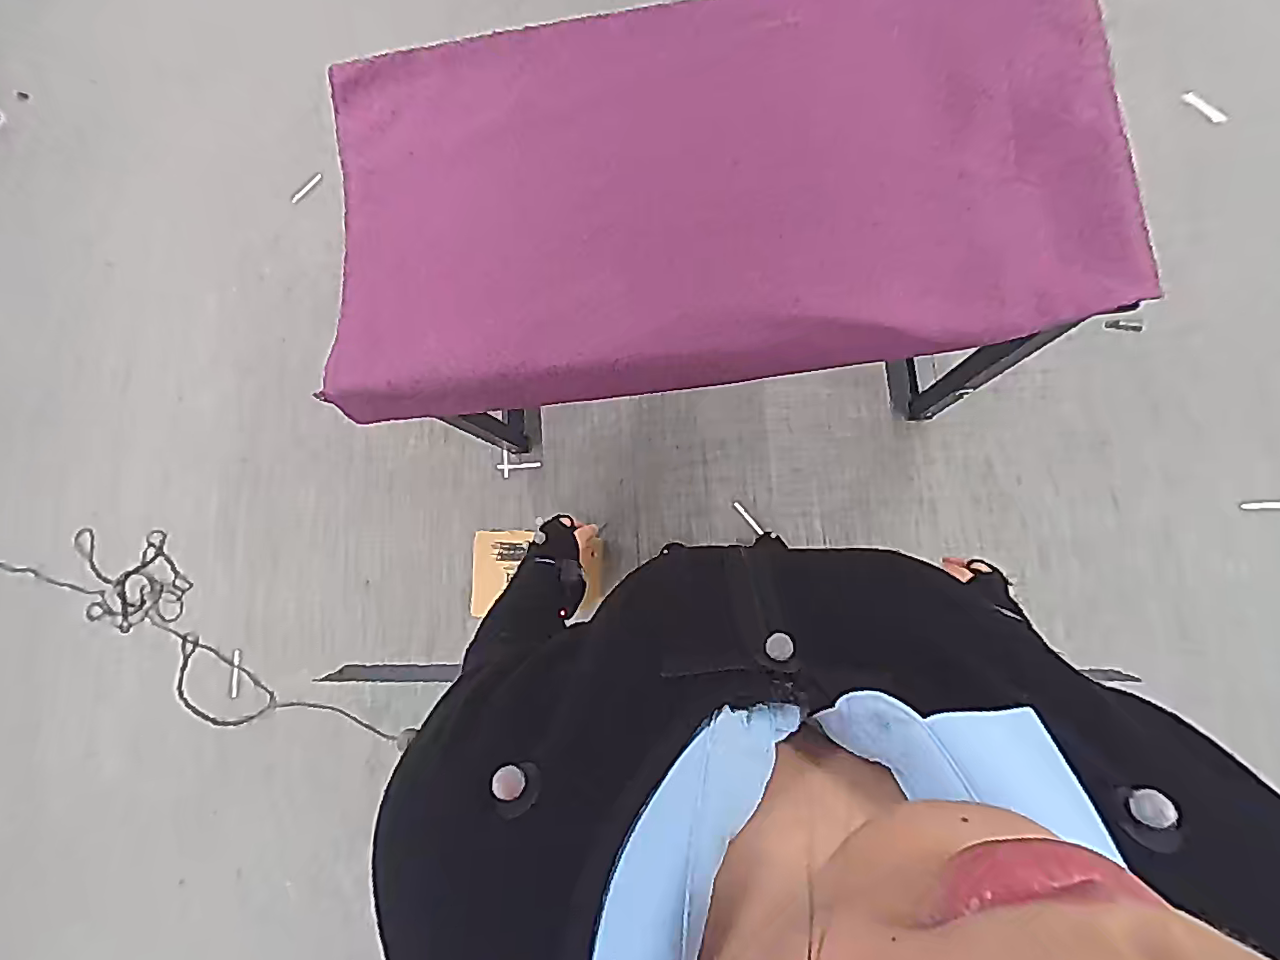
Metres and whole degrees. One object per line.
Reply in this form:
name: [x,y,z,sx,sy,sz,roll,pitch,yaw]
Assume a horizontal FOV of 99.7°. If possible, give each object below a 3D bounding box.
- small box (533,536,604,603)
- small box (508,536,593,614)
small box: [-0.198,0.247,1.478,0.168,0.176,0.179,3,83,8]
small box: [-0.213,0.229,1.314,0.168,0.176,0.179,-3,82,8]
